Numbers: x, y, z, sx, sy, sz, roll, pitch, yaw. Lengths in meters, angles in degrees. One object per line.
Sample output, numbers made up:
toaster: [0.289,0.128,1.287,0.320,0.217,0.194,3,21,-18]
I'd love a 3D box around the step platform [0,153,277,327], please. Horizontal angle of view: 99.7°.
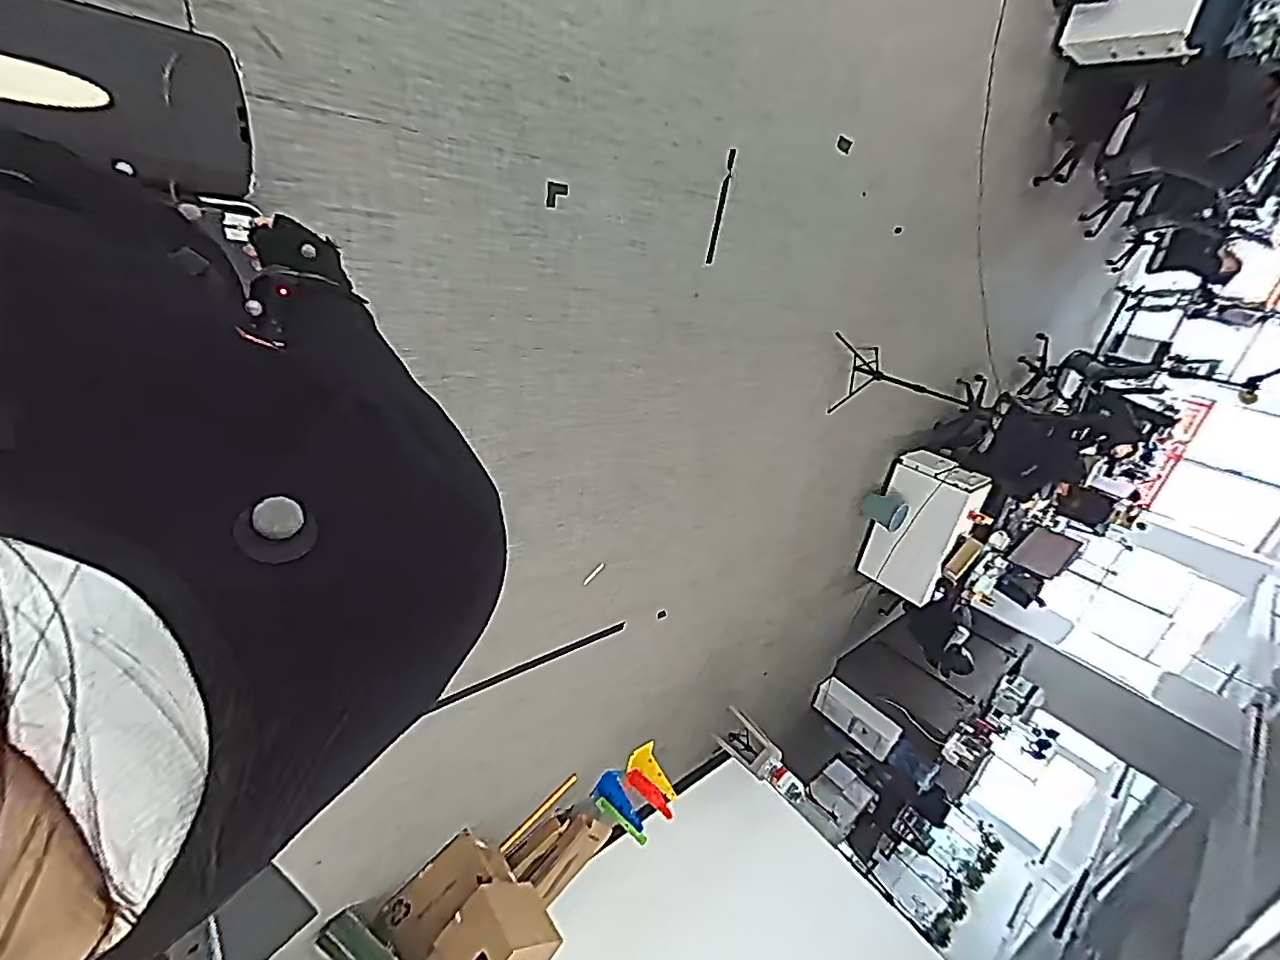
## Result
step platform: [-1.087,-0.441,1.006,0.684,0.204,0.286,-12,122,-37]
